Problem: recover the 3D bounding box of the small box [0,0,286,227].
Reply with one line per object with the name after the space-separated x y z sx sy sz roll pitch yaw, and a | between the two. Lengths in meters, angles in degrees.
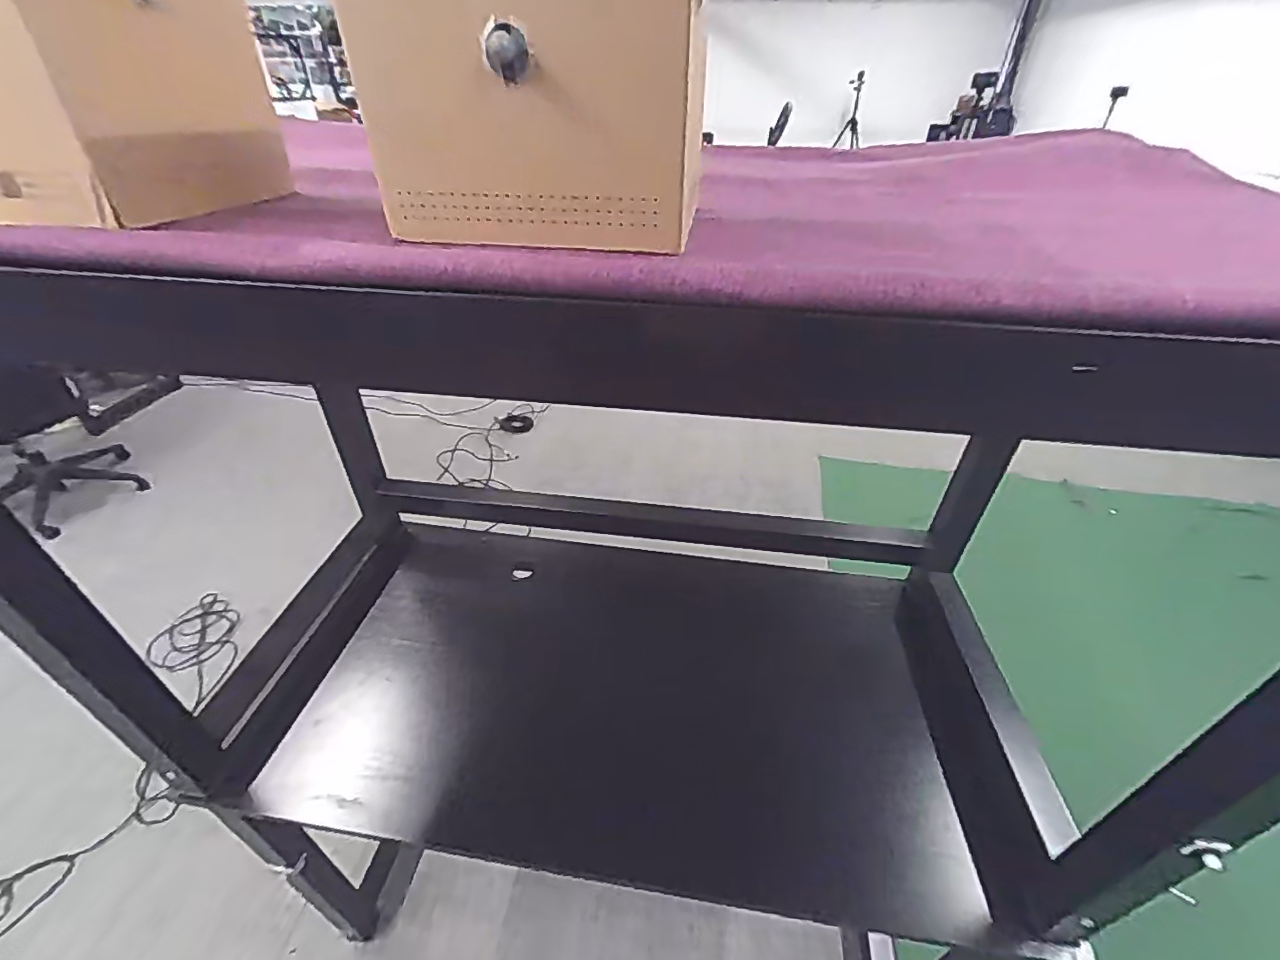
-0.373 -0.277 0.356 0.168 0.176 0.179 4 35 3 | small box
